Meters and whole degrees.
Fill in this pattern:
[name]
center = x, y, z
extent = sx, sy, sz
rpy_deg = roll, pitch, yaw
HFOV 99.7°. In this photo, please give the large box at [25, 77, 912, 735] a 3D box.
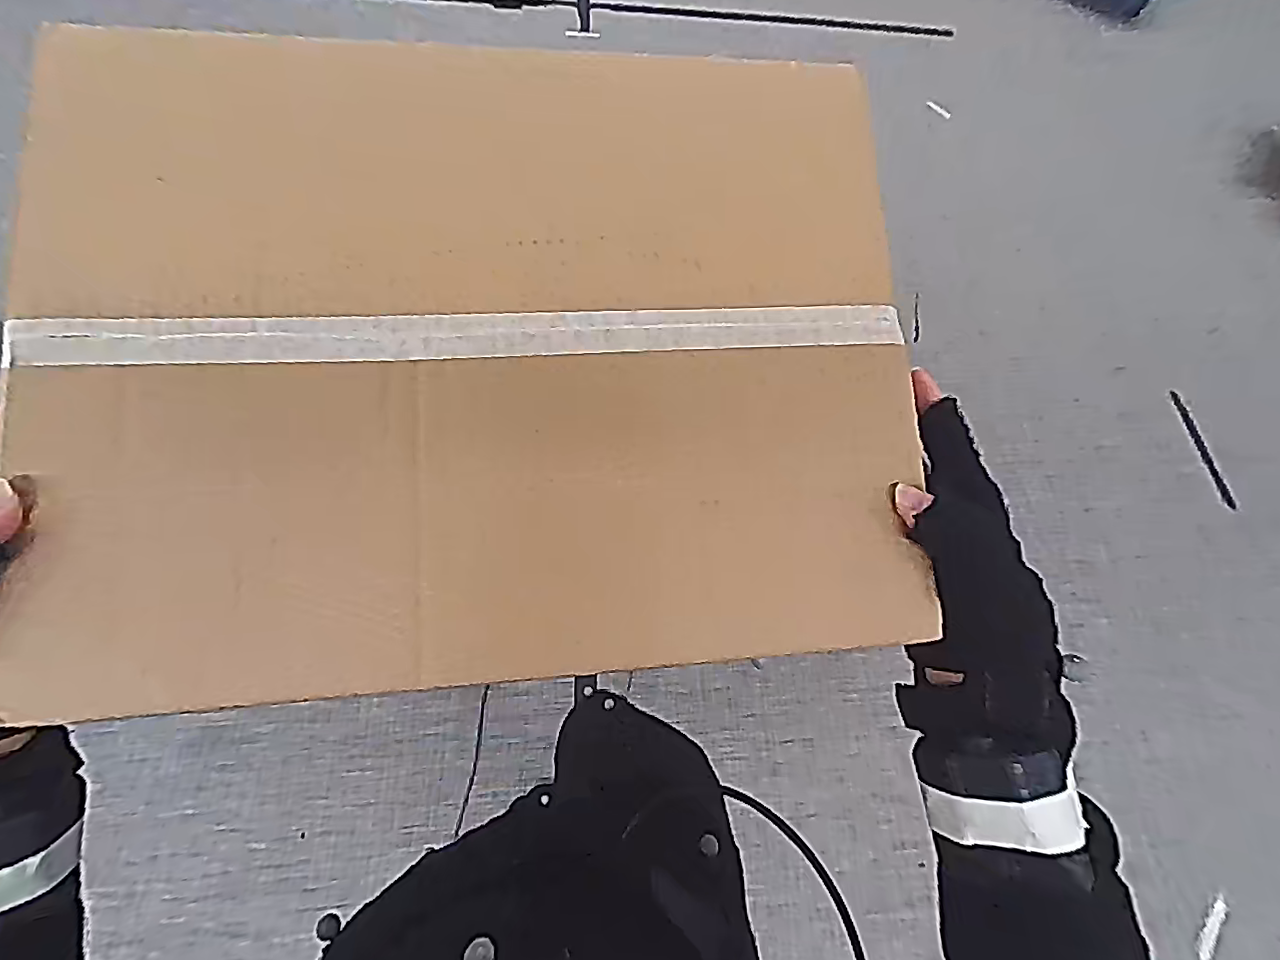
[large box]
center = -0.085, -0.039, 0.412
extent = 0.408, 0.320, 0.320
rpy_deg = -3, 82, -7
